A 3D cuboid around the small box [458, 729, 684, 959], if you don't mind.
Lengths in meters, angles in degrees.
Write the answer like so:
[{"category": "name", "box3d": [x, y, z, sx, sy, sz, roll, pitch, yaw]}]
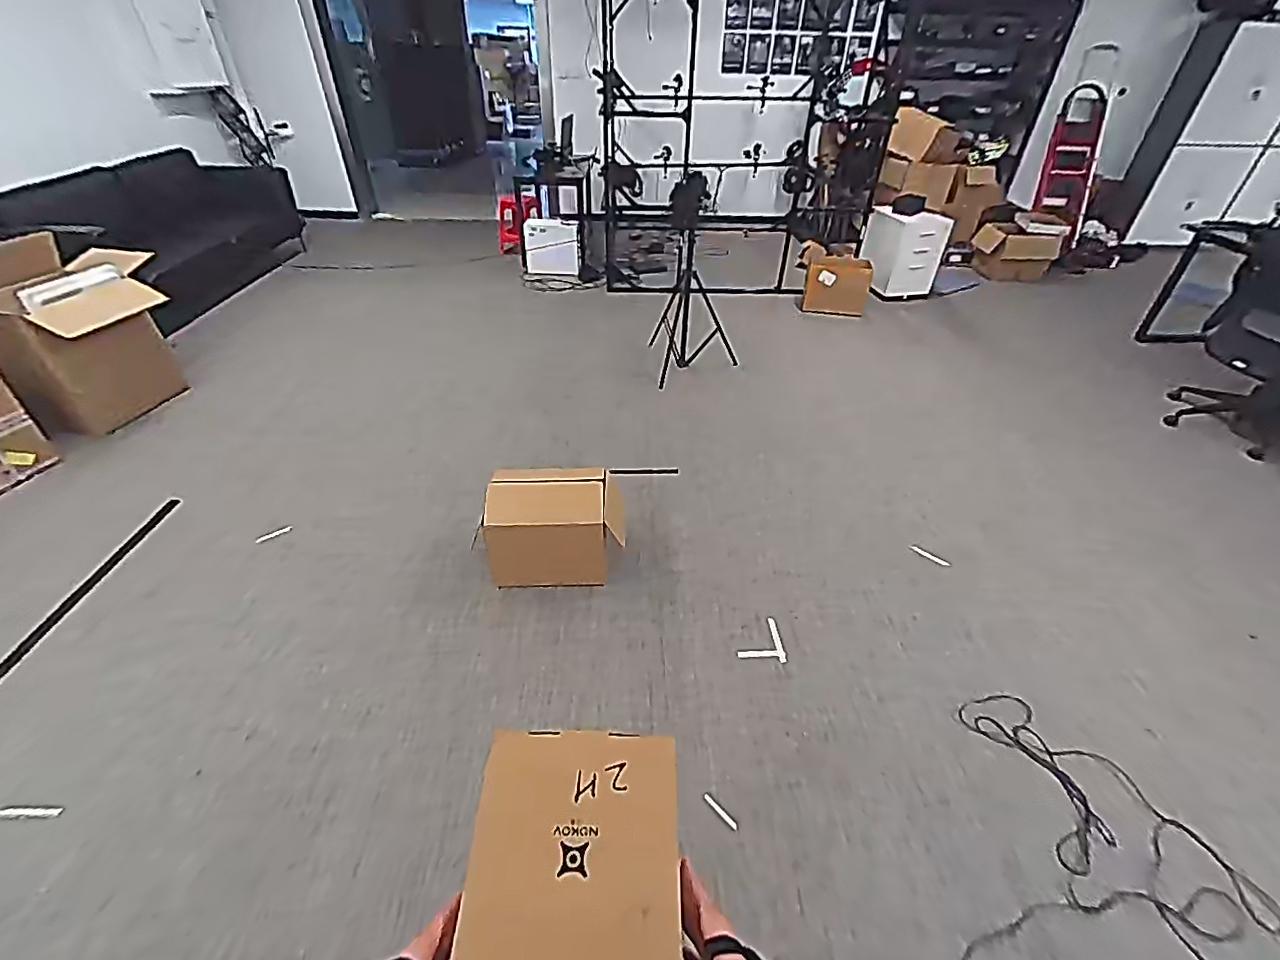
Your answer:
[{"category": "small box", "box3d": [-0.049, 0.350, 0.493, 0.168, 0.176, 0.179, 3, 44, -1]}]
